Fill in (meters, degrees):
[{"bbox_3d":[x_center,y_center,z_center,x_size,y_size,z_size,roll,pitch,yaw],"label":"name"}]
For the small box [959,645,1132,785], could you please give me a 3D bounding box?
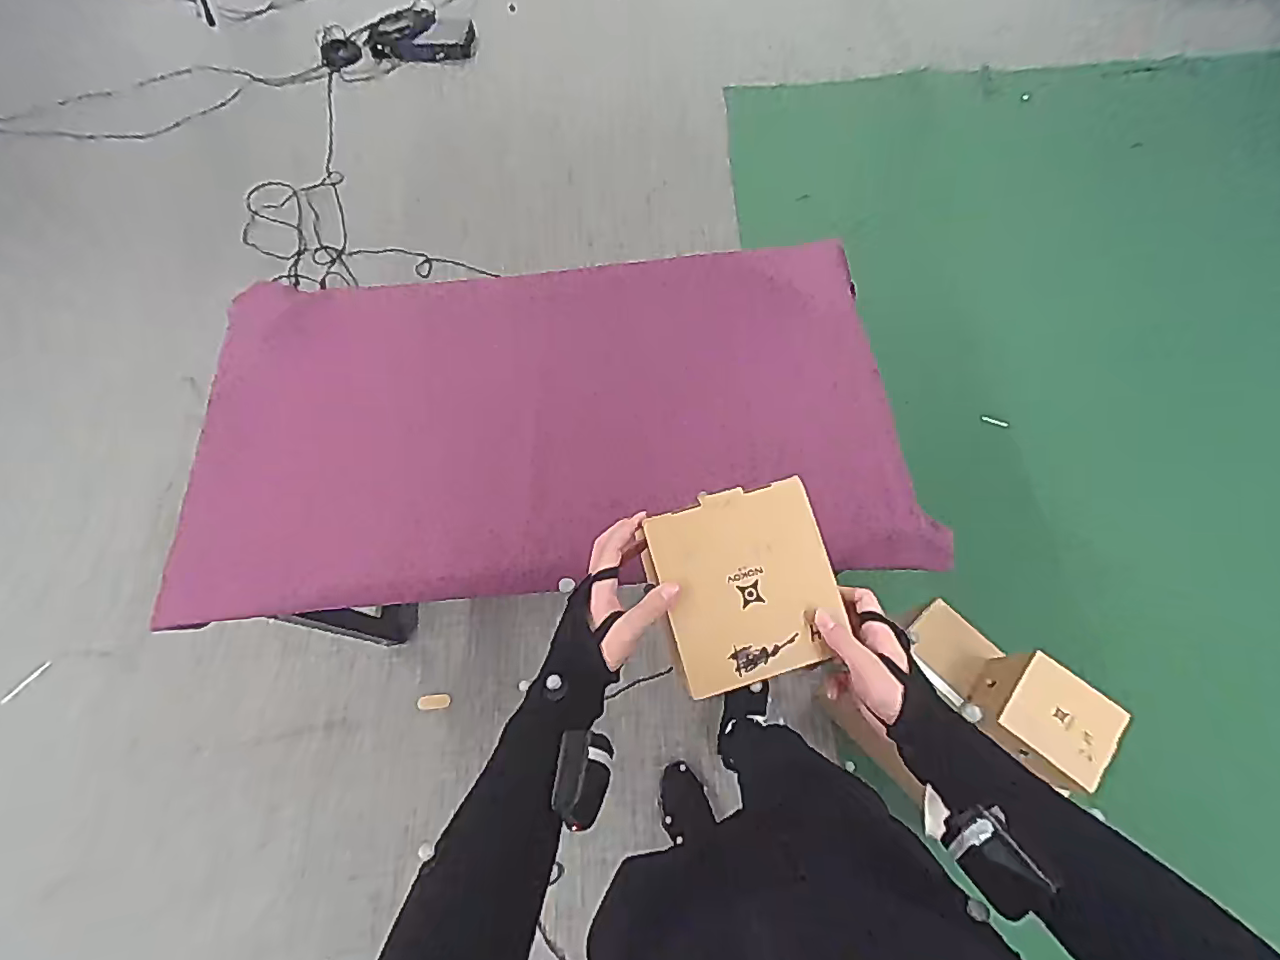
[{"bbox_3d":[0.757,0.445,1.032,0.179,0.176,0.168,38,73,17],"label":"small box"}]
